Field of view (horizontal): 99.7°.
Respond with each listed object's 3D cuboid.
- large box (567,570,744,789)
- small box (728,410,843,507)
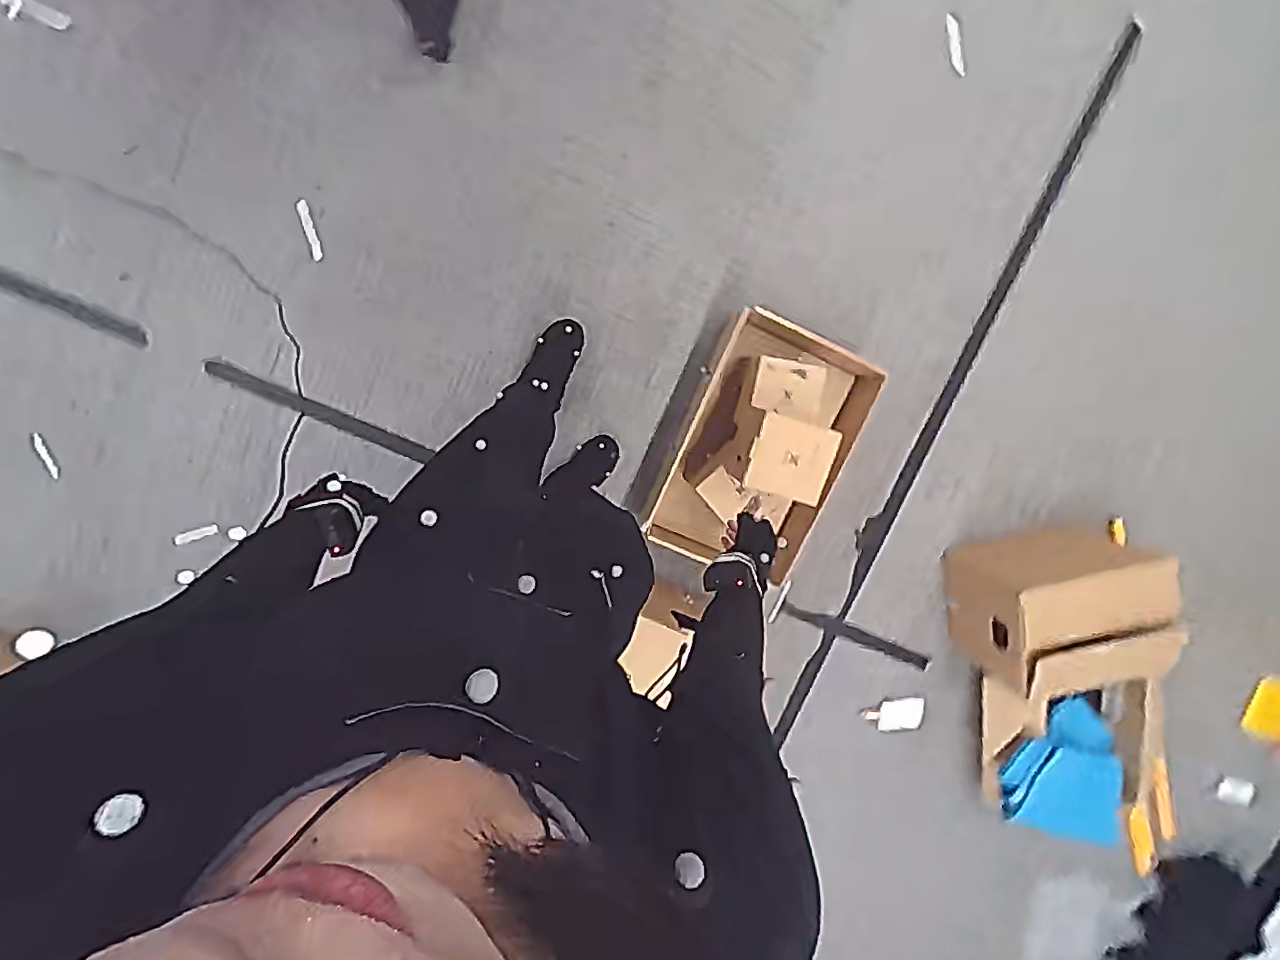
[{"bbox_3d":[0.027,0.515,1.455,0.320,0.320,0.408,24,100,-8],"label":"large box"},{"bbox_3d":[0.315,-0.056,1.213,0.179,0.176,0.168,16,101,-8],"label":"small box"}]
